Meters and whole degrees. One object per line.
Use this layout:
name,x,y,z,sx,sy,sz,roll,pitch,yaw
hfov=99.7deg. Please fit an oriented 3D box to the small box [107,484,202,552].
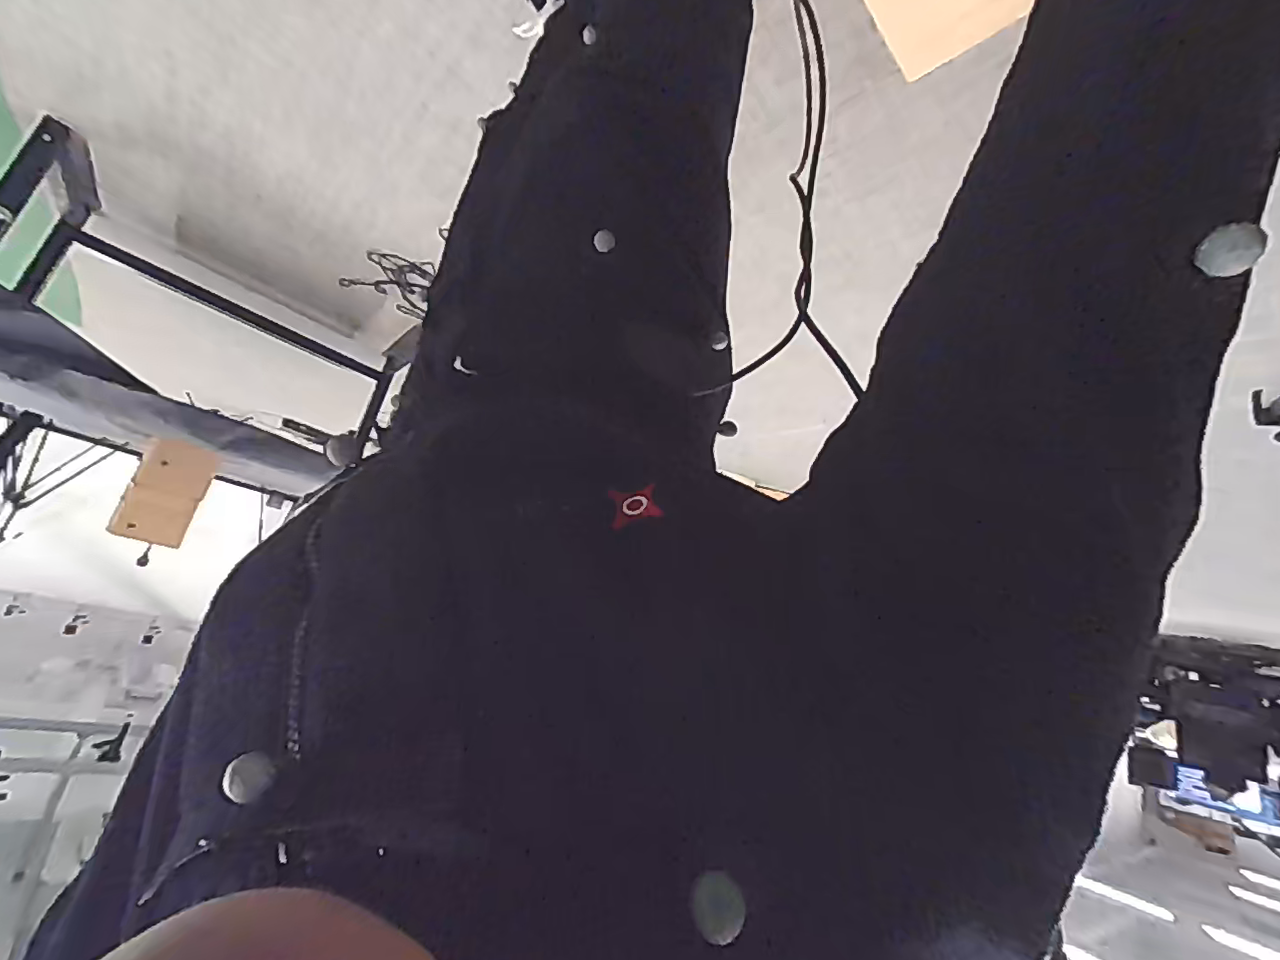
small box,-1.562,0.120,1.745,0.168,0.176,0.179,1,159,41

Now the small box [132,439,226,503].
small box,-1.520,-0.032,1.786,0.168,0.176,0.179,1,160,41
